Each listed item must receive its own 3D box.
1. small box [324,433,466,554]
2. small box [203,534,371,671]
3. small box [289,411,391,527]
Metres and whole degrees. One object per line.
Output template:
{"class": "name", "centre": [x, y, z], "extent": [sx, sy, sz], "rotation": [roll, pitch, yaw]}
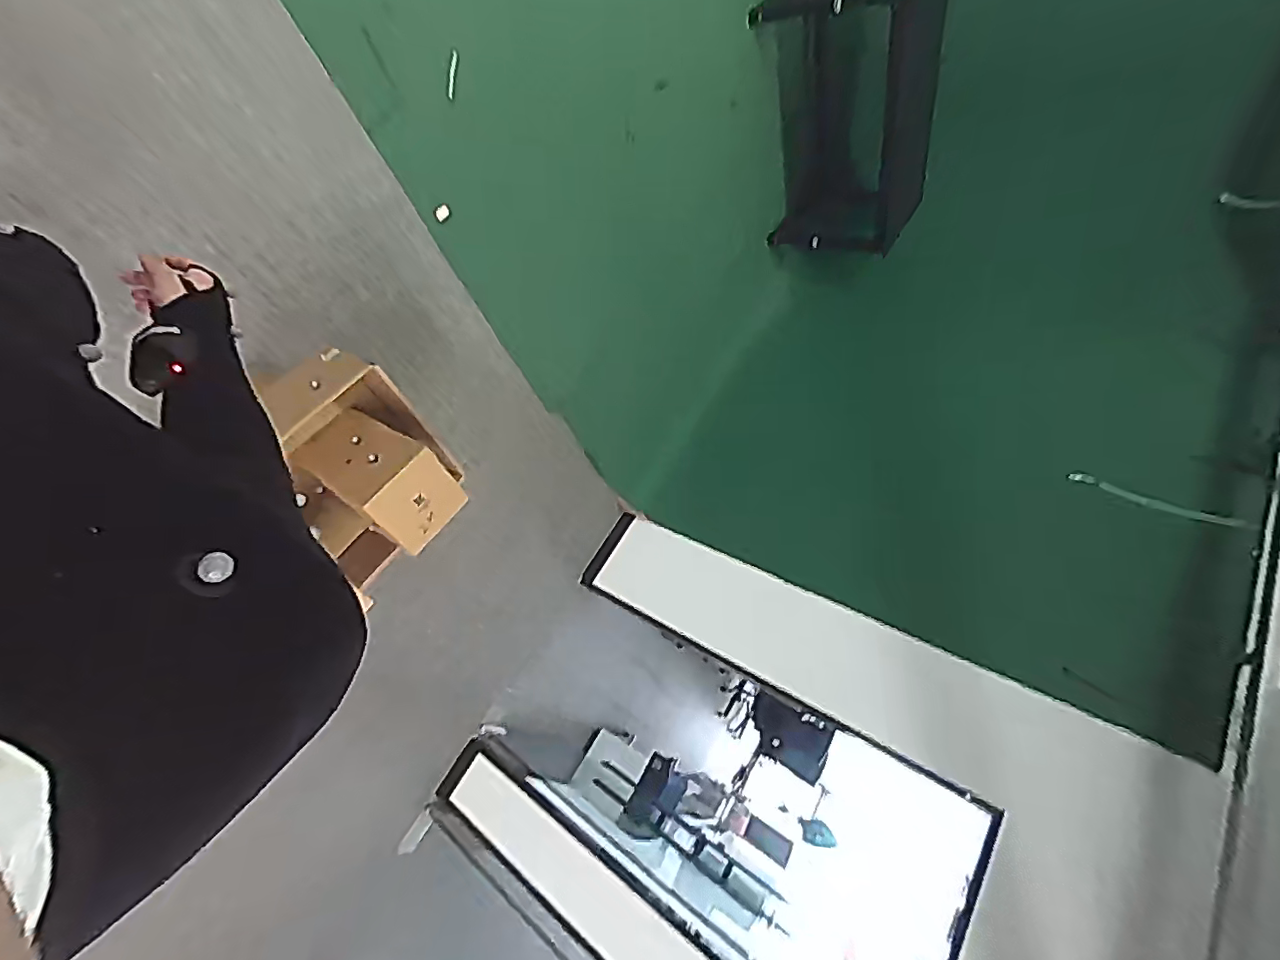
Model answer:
{"class": "small box", "centre": [-0.509, 0.020, 1.126], "extent": [0.168, 0.176, 0.179], "rotation": [-51, 144, -24]}
{"class": "small box", "centre": [-0.663, 0.223, 1.020], "extent": [0.168, 0.176, 0.179], "rotation": [-52, 146, -23]}
{"class": "small box", "centre": [-0.635, -0.030, 1.220], "extent": [0.168, 0.176, 0.179], "rotation": [-52, 145, -26]}
